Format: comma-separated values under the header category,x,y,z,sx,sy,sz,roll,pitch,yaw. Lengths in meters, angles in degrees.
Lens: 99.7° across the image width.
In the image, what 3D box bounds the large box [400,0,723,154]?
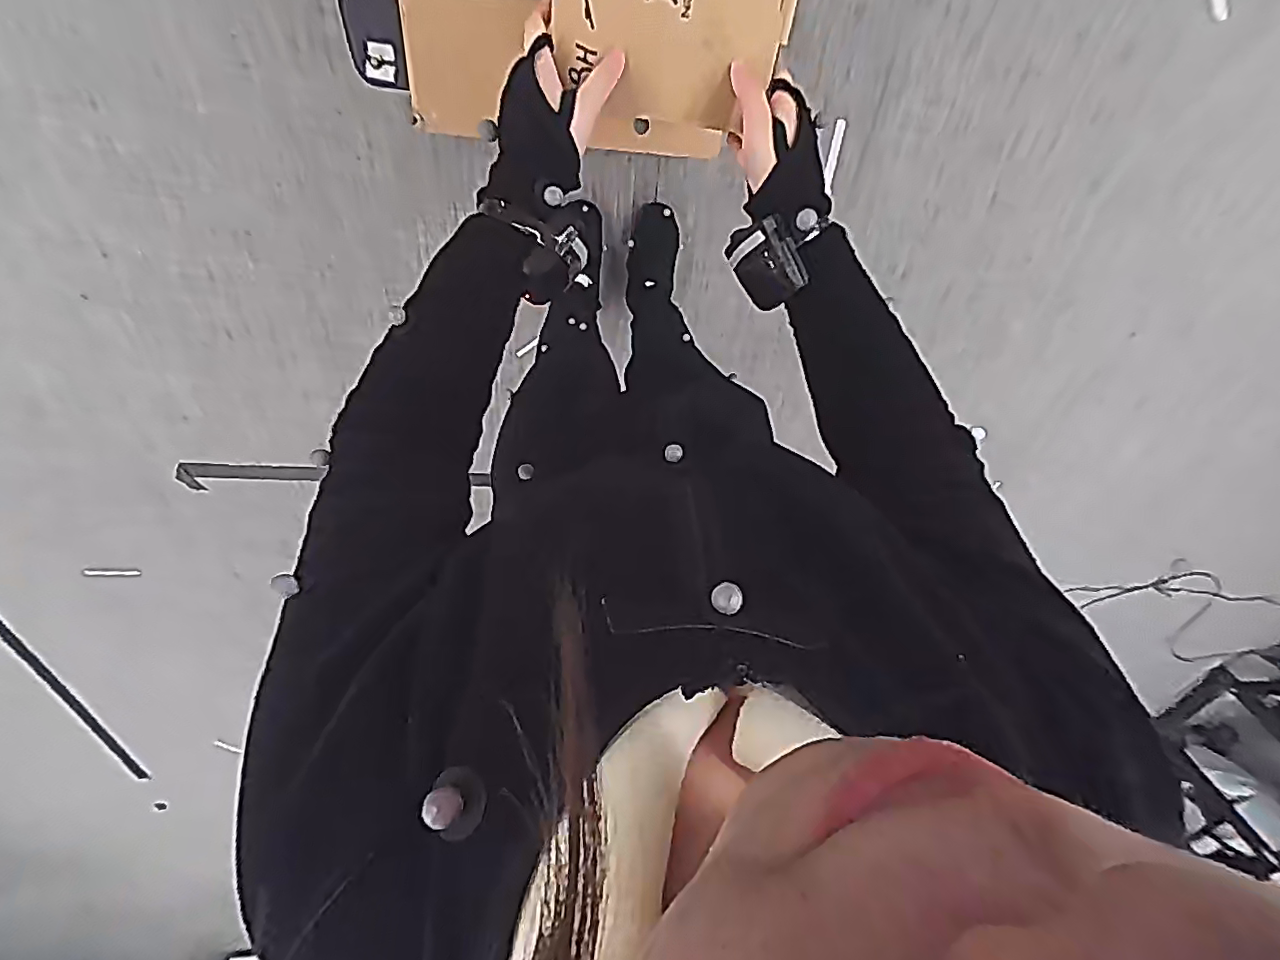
category,x,y,z,sx,sy,sz,roll,pitch,yaw
large box,-0.087,-0.660,0.743,0.408,0.320,0.320,1,126,-7

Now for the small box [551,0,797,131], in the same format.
category,x,y,z,sx,sy,sz,roll,pitch,yaw
small box,0.020,-0.400,0.439,0.179,0.176,0.168,3,126,-10
